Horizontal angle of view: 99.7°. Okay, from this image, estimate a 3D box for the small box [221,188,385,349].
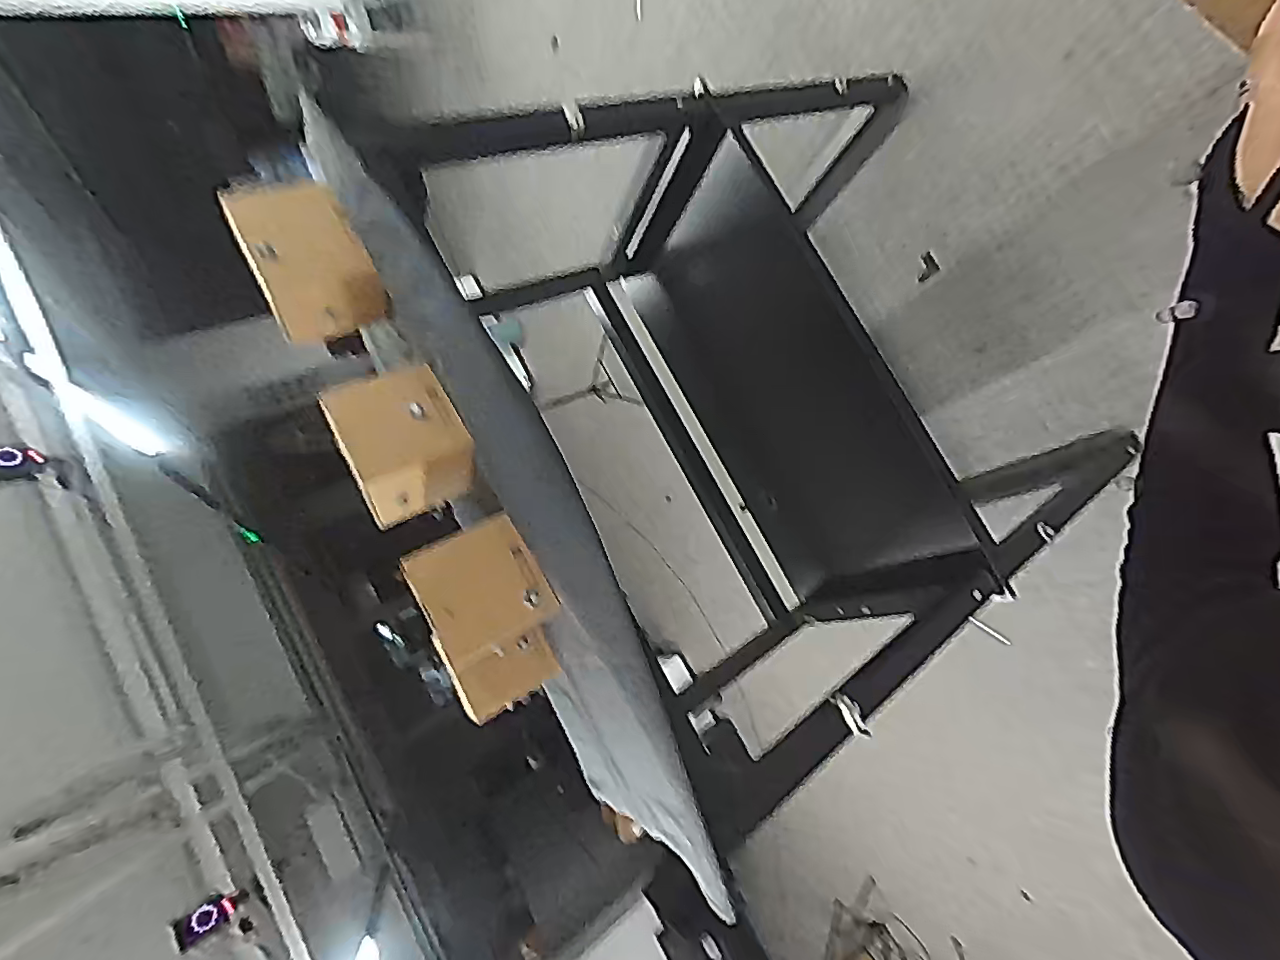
[{"bbox_3d":[-0.543,-0.348,0.901,0.168,0.176,0.179,62,155,2],"label":"small box"}]

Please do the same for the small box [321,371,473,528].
[{"bbox_3d":[-0.388,-0.050,0.890,0.168,0.176,0.179,57,153,13],"label":"small box"}]
